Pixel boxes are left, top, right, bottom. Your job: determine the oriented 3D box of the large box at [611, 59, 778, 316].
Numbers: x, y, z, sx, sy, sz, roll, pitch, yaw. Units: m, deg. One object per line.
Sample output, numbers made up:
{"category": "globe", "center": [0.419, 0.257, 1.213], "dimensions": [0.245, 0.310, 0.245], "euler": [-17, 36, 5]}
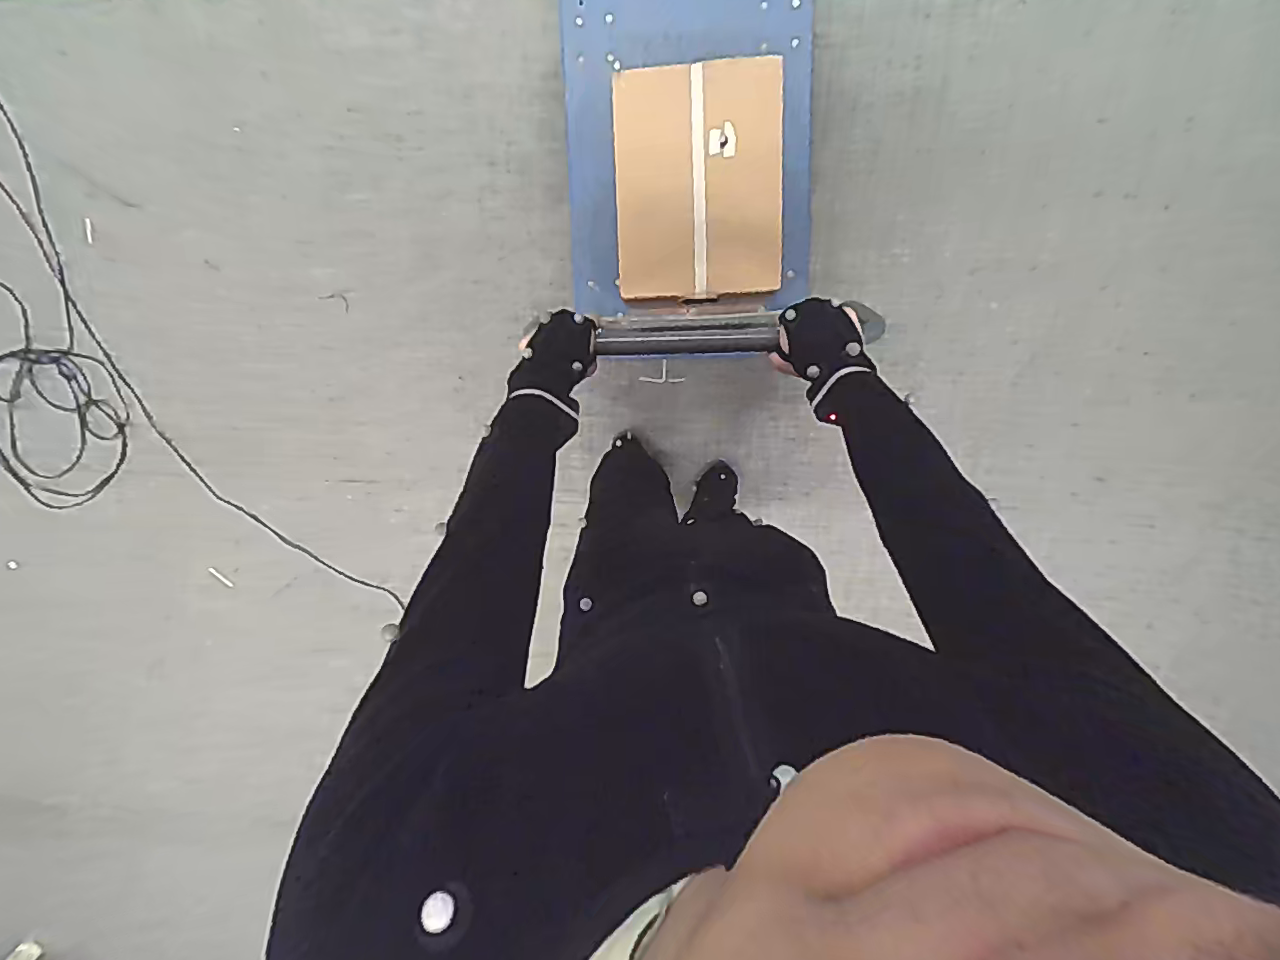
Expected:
{"category": "large box", "center": [0.119, -0.591, 1.176], "dimensions": [0.320, 0.320, 0.408], "euler": [-1, 99, 5]}
